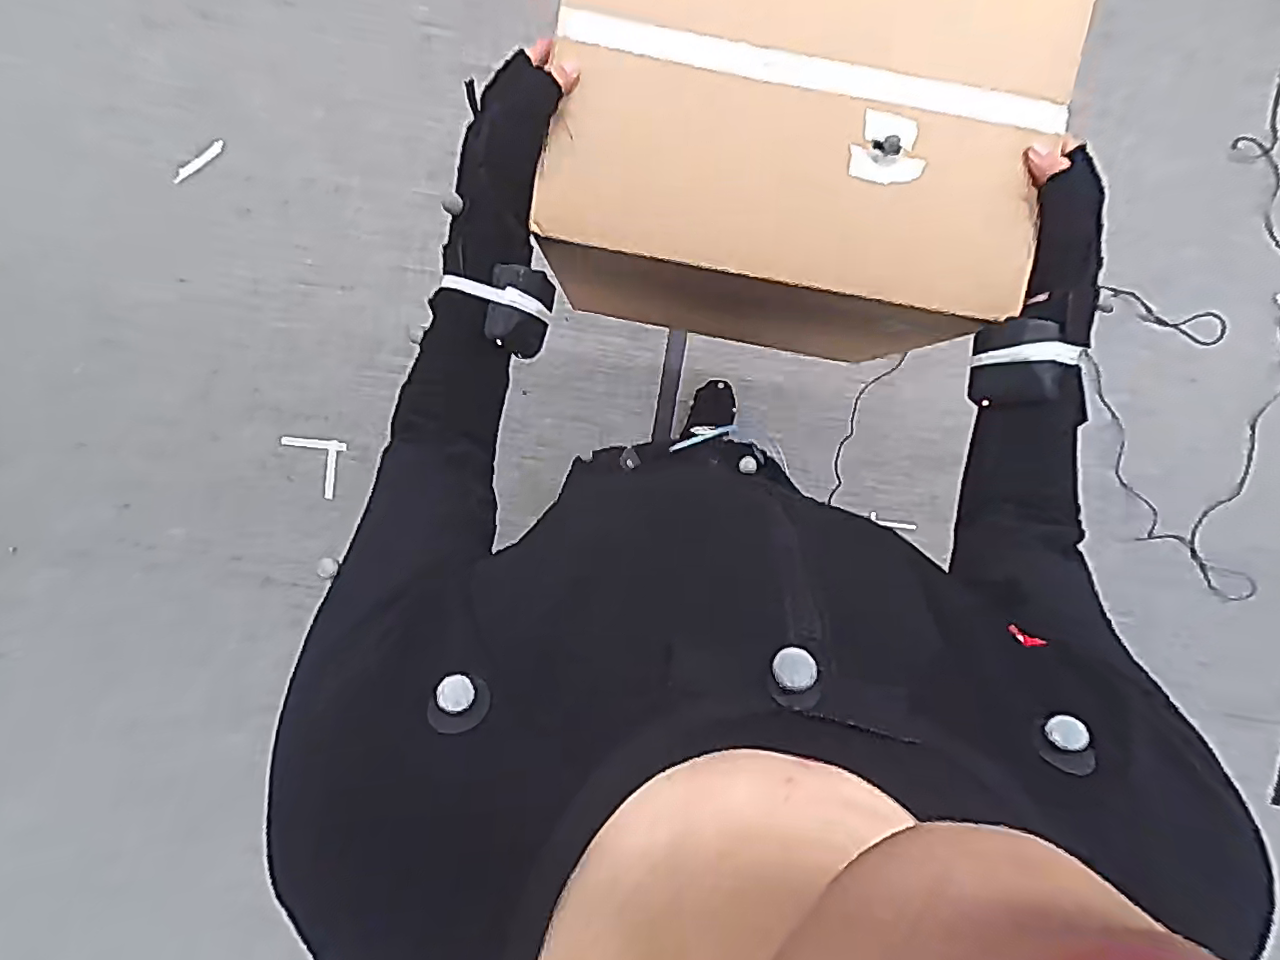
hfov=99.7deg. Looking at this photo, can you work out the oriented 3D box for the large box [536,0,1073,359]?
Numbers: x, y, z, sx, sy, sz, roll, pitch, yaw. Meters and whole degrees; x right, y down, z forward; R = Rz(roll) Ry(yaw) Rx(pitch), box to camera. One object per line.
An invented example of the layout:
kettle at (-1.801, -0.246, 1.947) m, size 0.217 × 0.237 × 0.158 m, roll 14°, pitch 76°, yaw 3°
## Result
large box at (0.128, -0.331, 0.582) m, size 0.408 × 0.320 × 0.320 m, roll 10°, pitch 97°, yaw -3°
